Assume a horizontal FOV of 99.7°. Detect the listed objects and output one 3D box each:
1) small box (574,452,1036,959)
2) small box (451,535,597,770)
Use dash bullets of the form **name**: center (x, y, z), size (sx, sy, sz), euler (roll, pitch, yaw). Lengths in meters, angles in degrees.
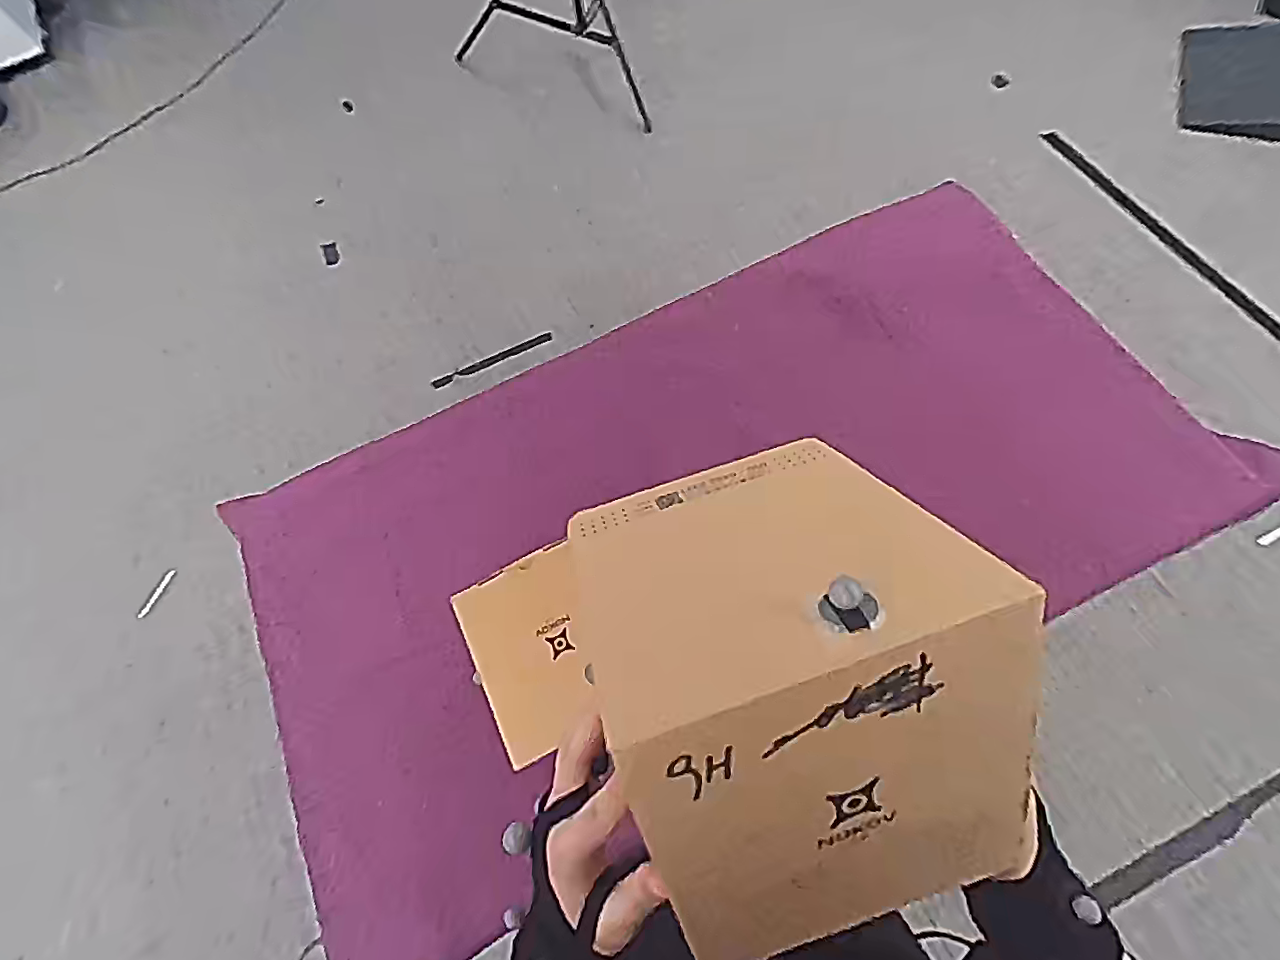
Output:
- **small box**: center (0.069, 0.110, 0.300), size (0.168, 0.179, 0.176), euler (-18, 27, -4)
- **small box**: center (-0.074, 0.182, 0.598), size (0.168, 0.176, 0.179), euler (-28, 70, -5)
